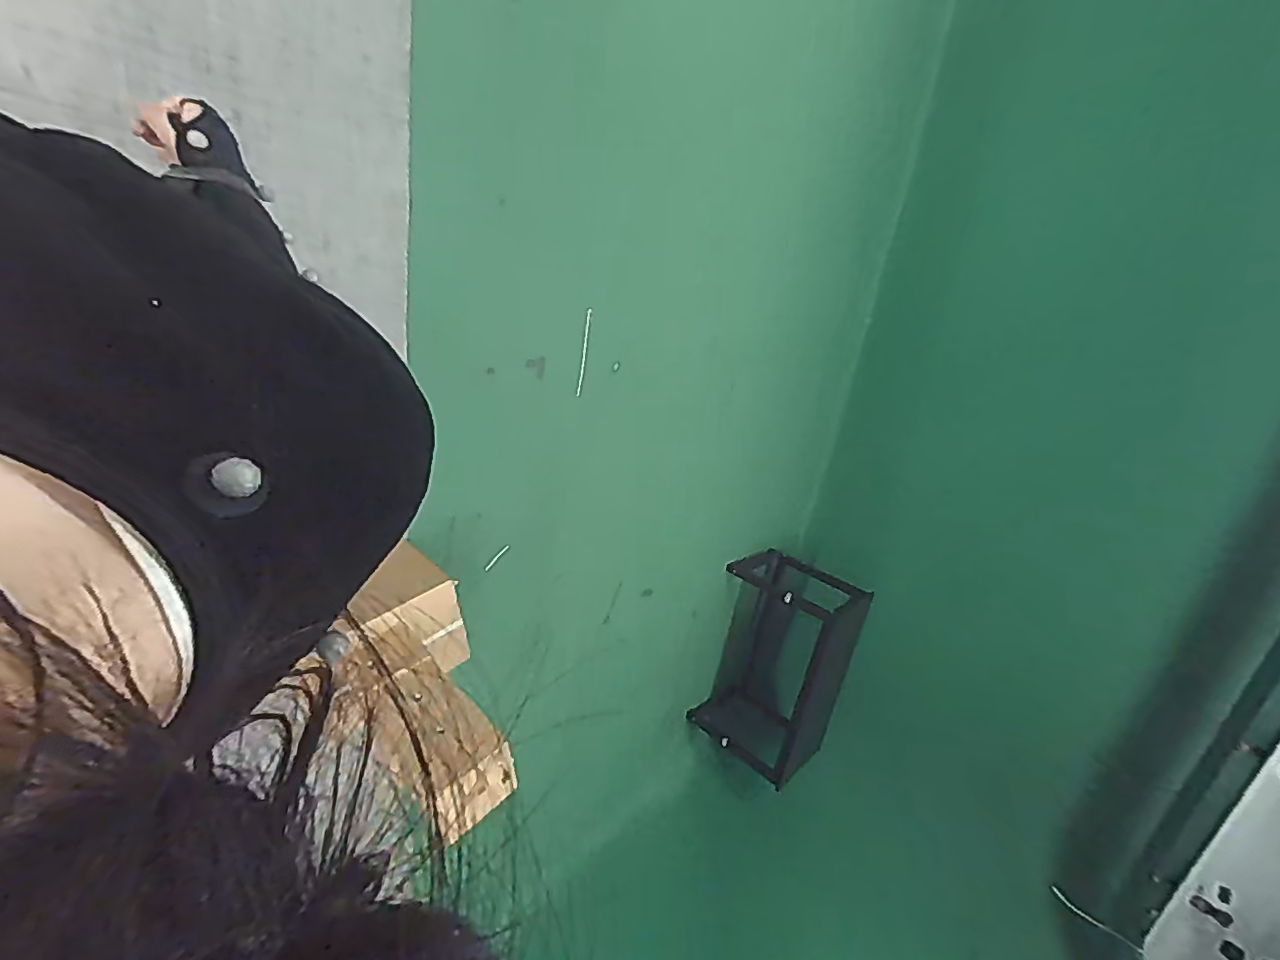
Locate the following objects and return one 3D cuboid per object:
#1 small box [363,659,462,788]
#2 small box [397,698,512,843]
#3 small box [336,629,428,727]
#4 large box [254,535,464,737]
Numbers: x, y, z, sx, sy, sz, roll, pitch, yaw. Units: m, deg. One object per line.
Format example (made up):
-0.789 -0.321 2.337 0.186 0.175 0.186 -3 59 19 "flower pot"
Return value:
-0.524 0.562 1.266 0.179 0.176 0.168 -28 129 -38 "small box"
-0.404 0.617 1.168 0.179 0.176 0.168 -26 128 -38 "small box"
-0.639 0.504 1.366 0.168 0.176 0.179 -27 128 -39 "small box"
-0.786 0.420 1.547 0.408 0.320 0.320 -29 131 -40 "large box"
